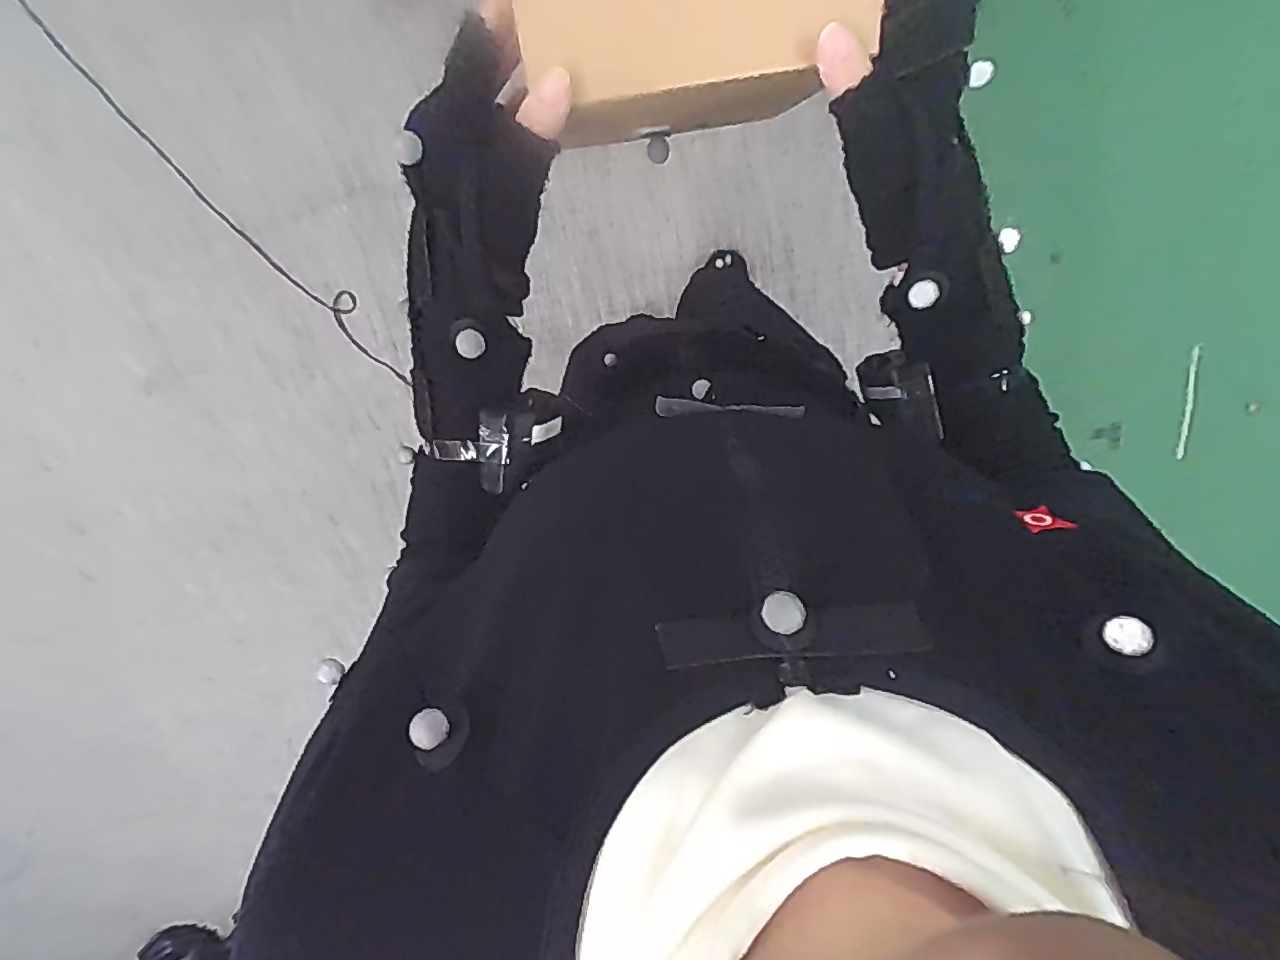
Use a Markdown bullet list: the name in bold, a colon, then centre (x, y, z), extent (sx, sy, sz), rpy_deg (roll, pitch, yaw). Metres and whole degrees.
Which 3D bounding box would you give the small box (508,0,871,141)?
- **small box**: centre (0.009, -0.303, 0.288), extent (0.168, 0.176, 0.179), rpy_deg (-9, 116, 0)
